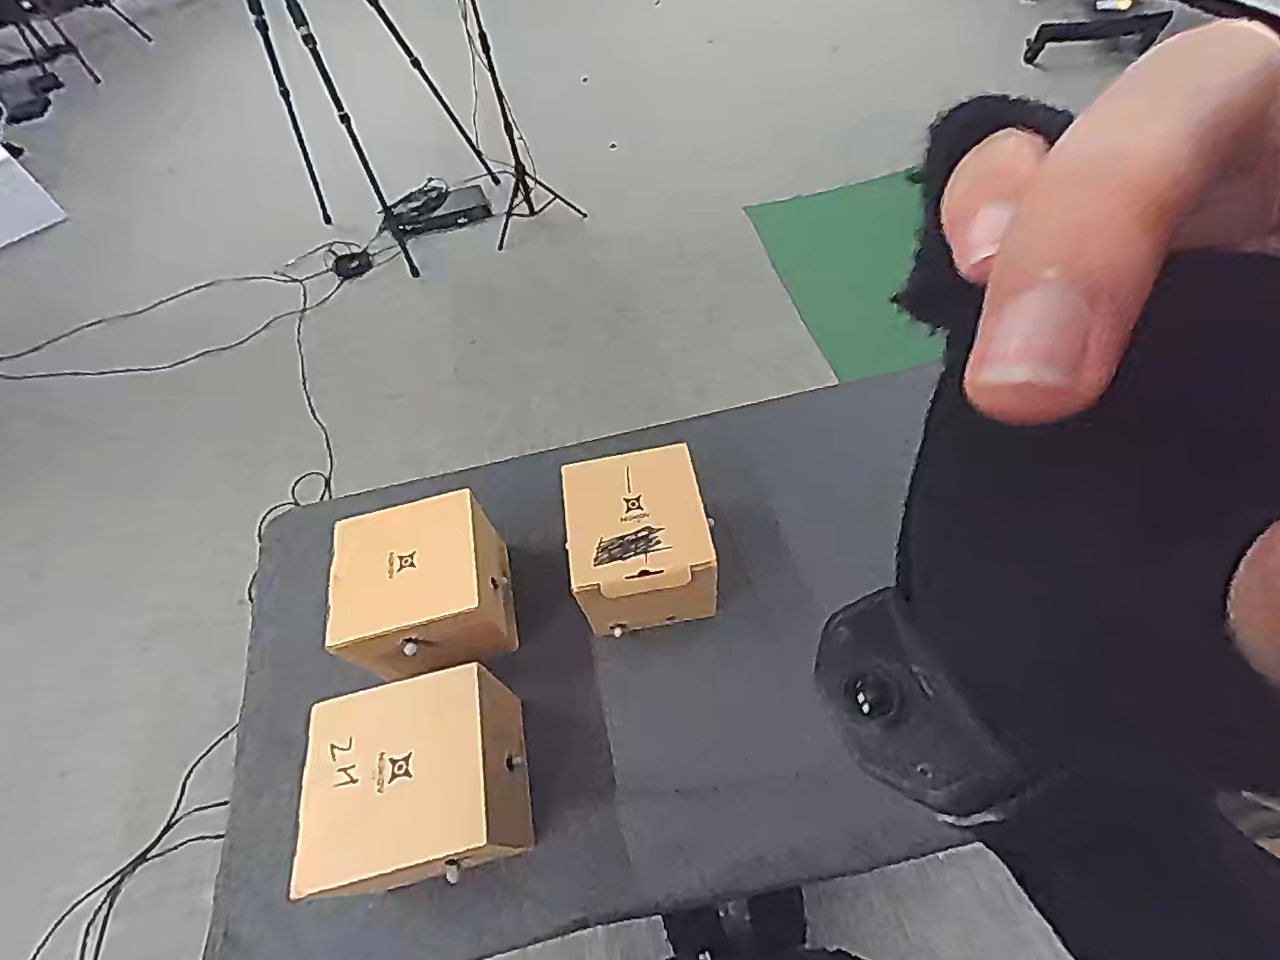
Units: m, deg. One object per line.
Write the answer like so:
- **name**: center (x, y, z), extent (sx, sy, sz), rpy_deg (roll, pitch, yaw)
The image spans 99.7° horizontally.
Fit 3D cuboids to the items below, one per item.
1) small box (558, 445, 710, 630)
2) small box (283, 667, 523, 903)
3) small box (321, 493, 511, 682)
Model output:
- **small box**: center (-0.005, 0.084, 0.707), extent (0.168, 0.176, 0.179), rpy_deg (-10, 55, 0)
- **small box**: center (-0.230, 0.321, 0.574), extent (0.179, 0.176, 0.168), rpy_deg (-14, 54, -3)
- **small box**: center (-0.276, 0.144, 0.704), extent (0.179, 0.176, 0.168), rpy_deg (-15, 56, -2)
